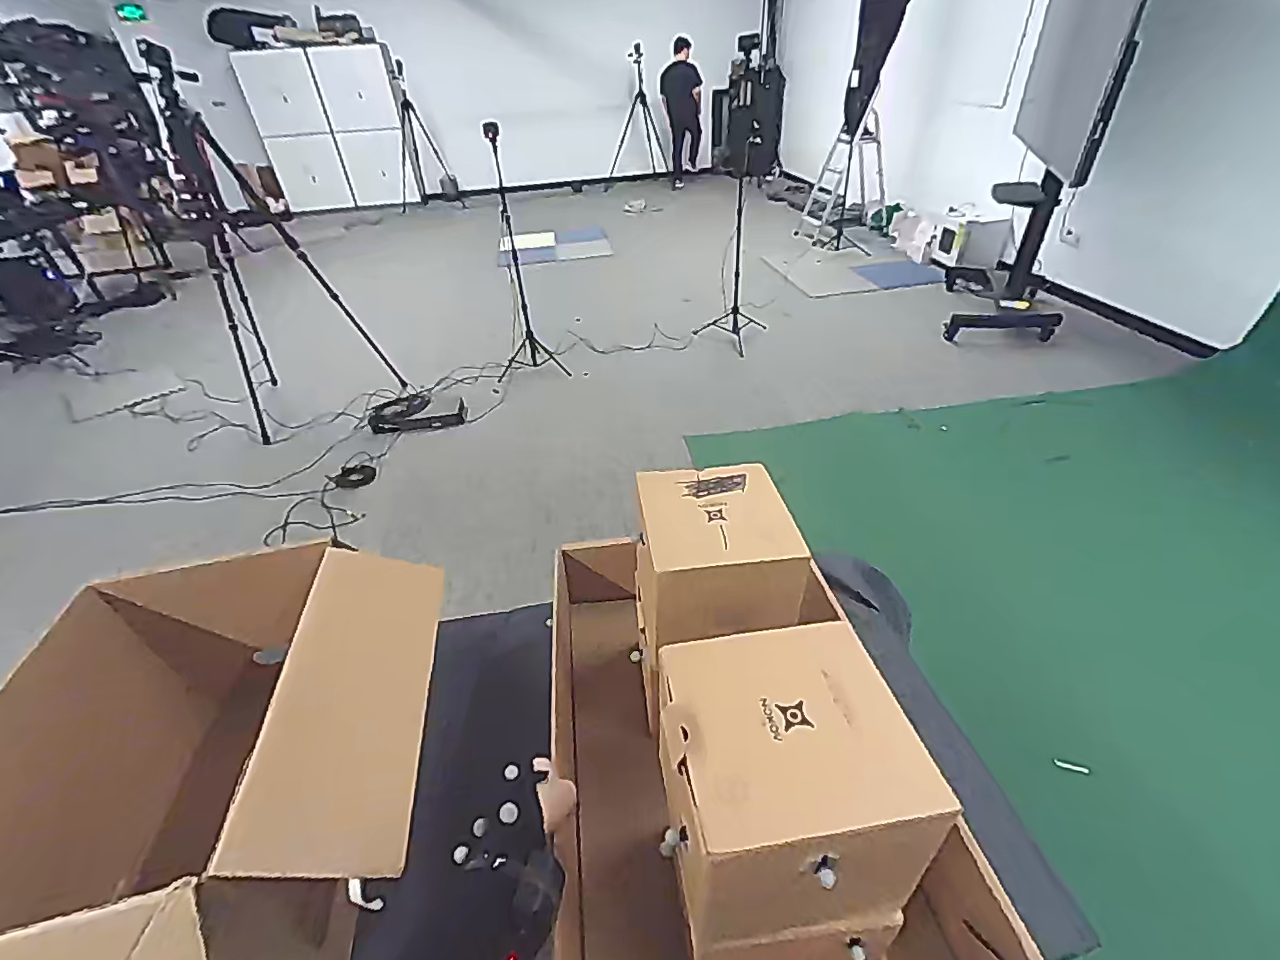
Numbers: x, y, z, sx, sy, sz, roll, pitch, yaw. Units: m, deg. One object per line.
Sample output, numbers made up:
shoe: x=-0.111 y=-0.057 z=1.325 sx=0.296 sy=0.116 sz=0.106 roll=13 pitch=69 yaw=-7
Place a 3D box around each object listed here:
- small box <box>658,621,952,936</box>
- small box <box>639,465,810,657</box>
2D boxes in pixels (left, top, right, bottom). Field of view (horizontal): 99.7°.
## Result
small box: x=0.115 y=0.247 z=0.458 sx=0.179 sy=0.176 sz=0.168 roll=-6 pitch=35 yaw=-7
small box: x=0.087 y=0.101 z=0.665 sx=0.168 sy=0.176 sz=0.179 roll=-5 pitch=37 yaw=-4
